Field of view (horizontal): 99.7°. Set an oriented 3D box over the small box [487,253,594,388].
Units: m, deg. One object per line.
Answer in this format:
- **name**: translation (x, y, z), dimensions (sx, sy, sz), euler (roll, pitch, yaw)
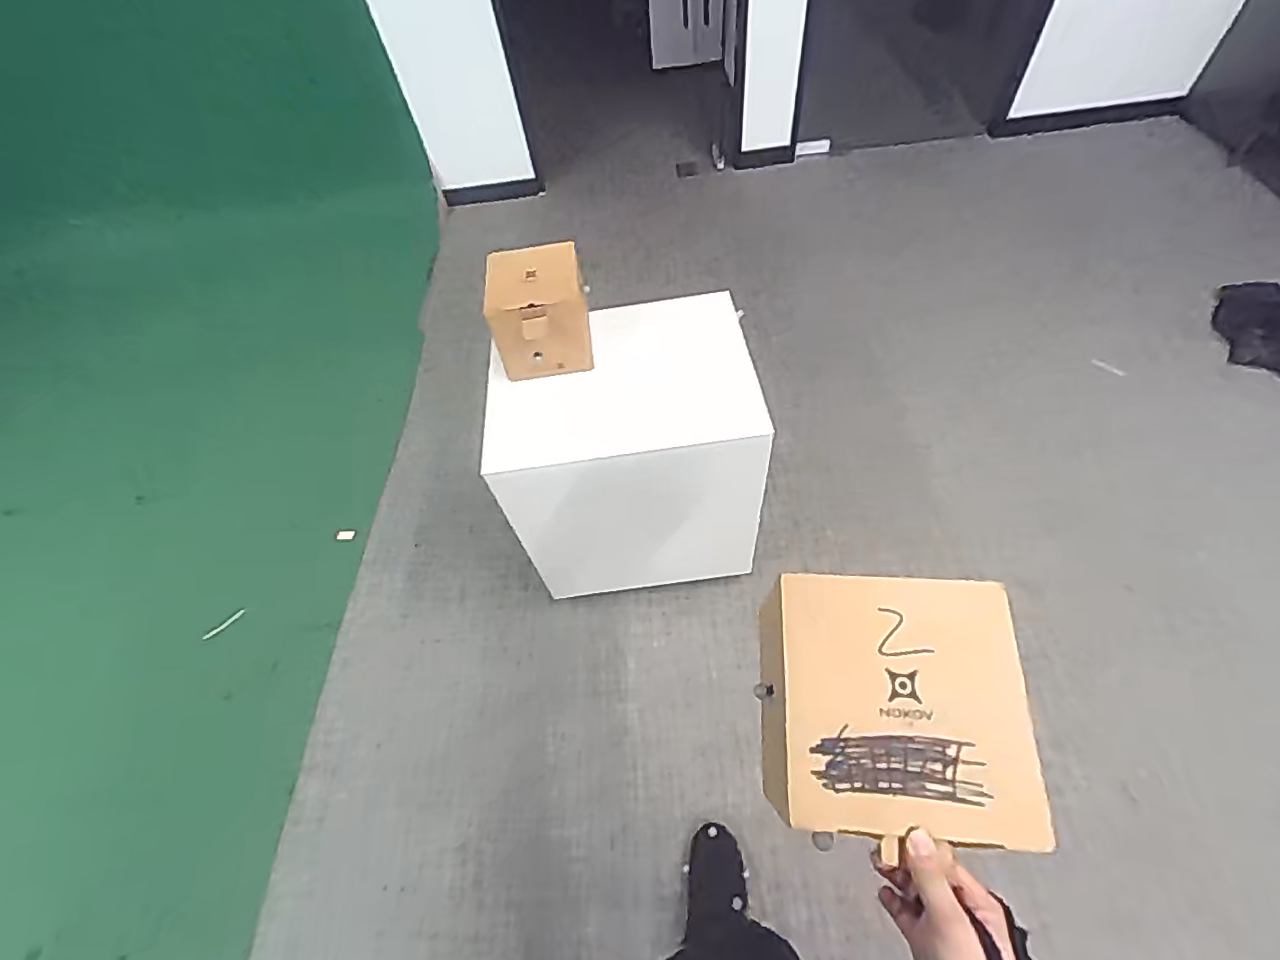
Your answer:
- **small box**: translation (-0.184, -0.302, 1.034), dimensions (0.168, 0.176, 0.179), euler (-8, 56, 0)
